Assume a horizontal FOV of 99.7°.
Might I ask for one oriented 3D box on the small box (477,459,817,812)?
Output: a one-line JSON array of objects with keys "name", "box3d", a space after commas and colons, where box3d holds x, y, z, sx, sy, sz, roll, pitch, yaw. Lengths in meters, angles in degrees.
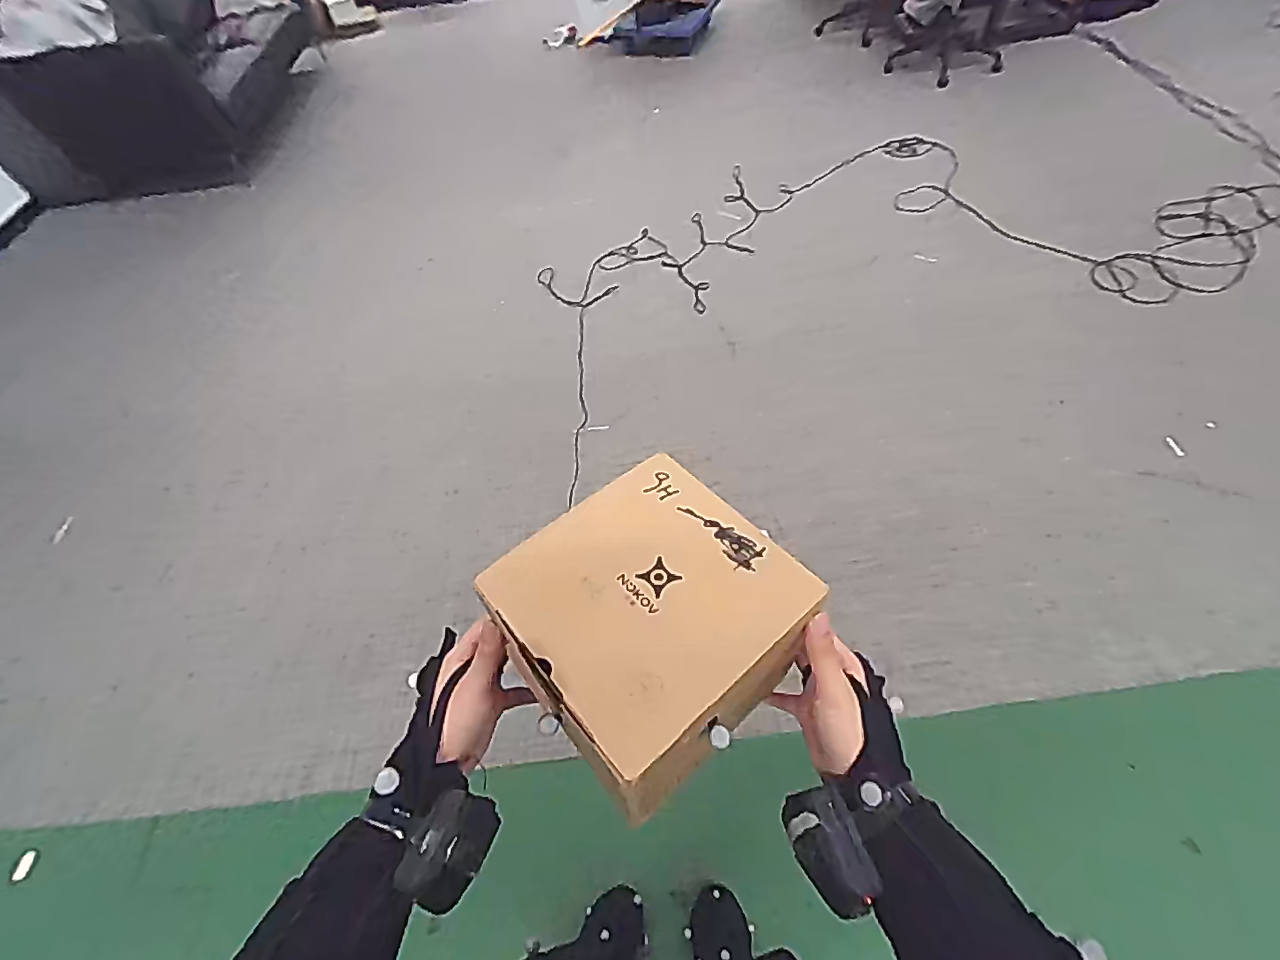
[{"name": "small box", "box3d": [0.007, 0.124, 0.427, 0.179, 0.176, 0.168, -36, 58, -23]}]
